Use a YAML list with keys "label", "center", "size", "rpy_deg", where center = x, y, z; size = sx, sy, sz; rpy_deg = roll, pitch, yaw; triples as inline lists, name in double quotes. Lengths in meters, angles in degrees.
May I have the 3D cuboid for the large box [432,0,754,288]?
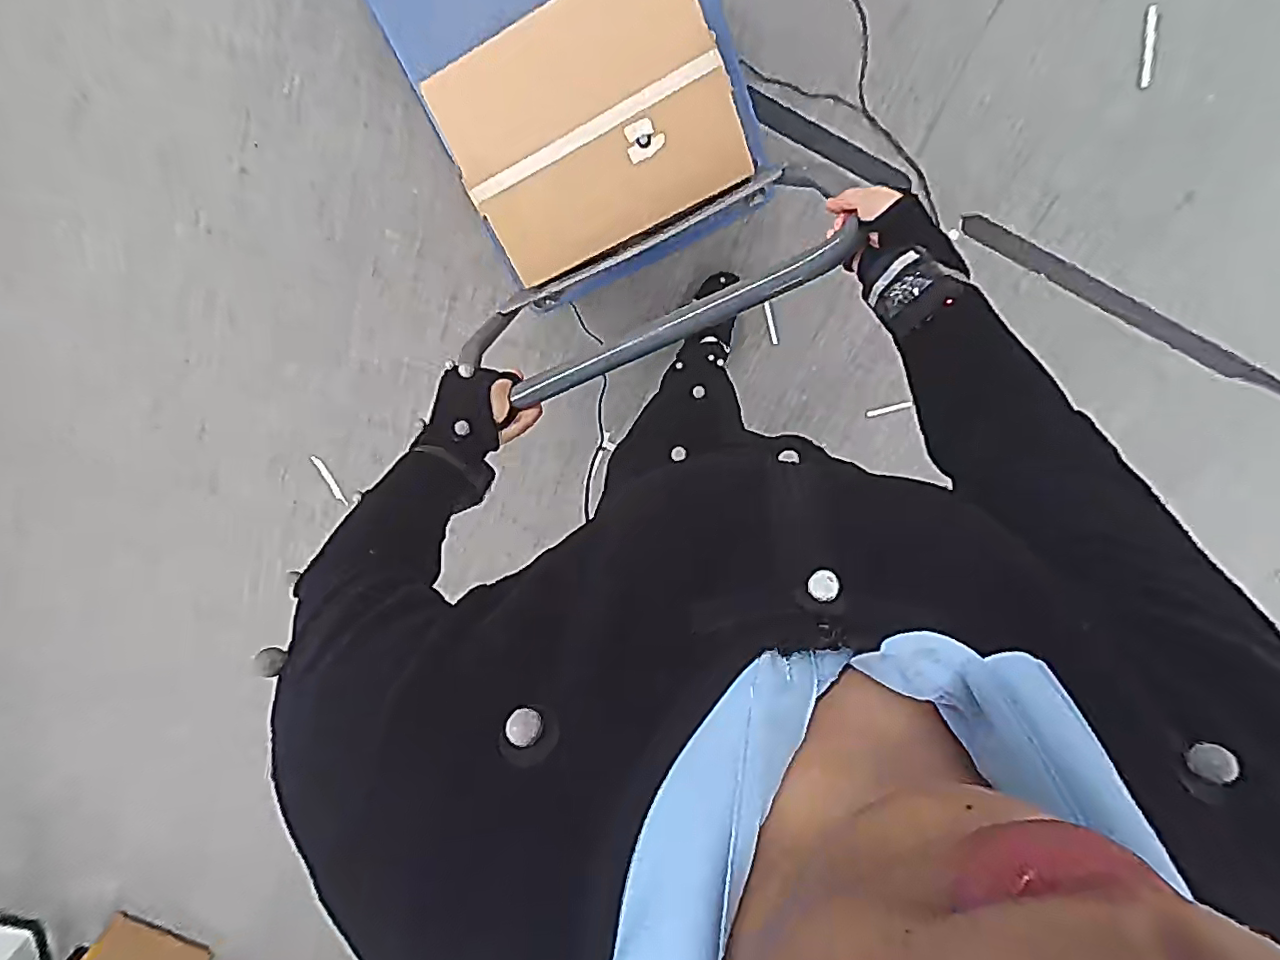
- label: "large box"
  center: [-0.064, -0.582, 0.941]
  size: [0.408, 0.320, 0.320]
  rpy_deg: [-23, 114, 12]
